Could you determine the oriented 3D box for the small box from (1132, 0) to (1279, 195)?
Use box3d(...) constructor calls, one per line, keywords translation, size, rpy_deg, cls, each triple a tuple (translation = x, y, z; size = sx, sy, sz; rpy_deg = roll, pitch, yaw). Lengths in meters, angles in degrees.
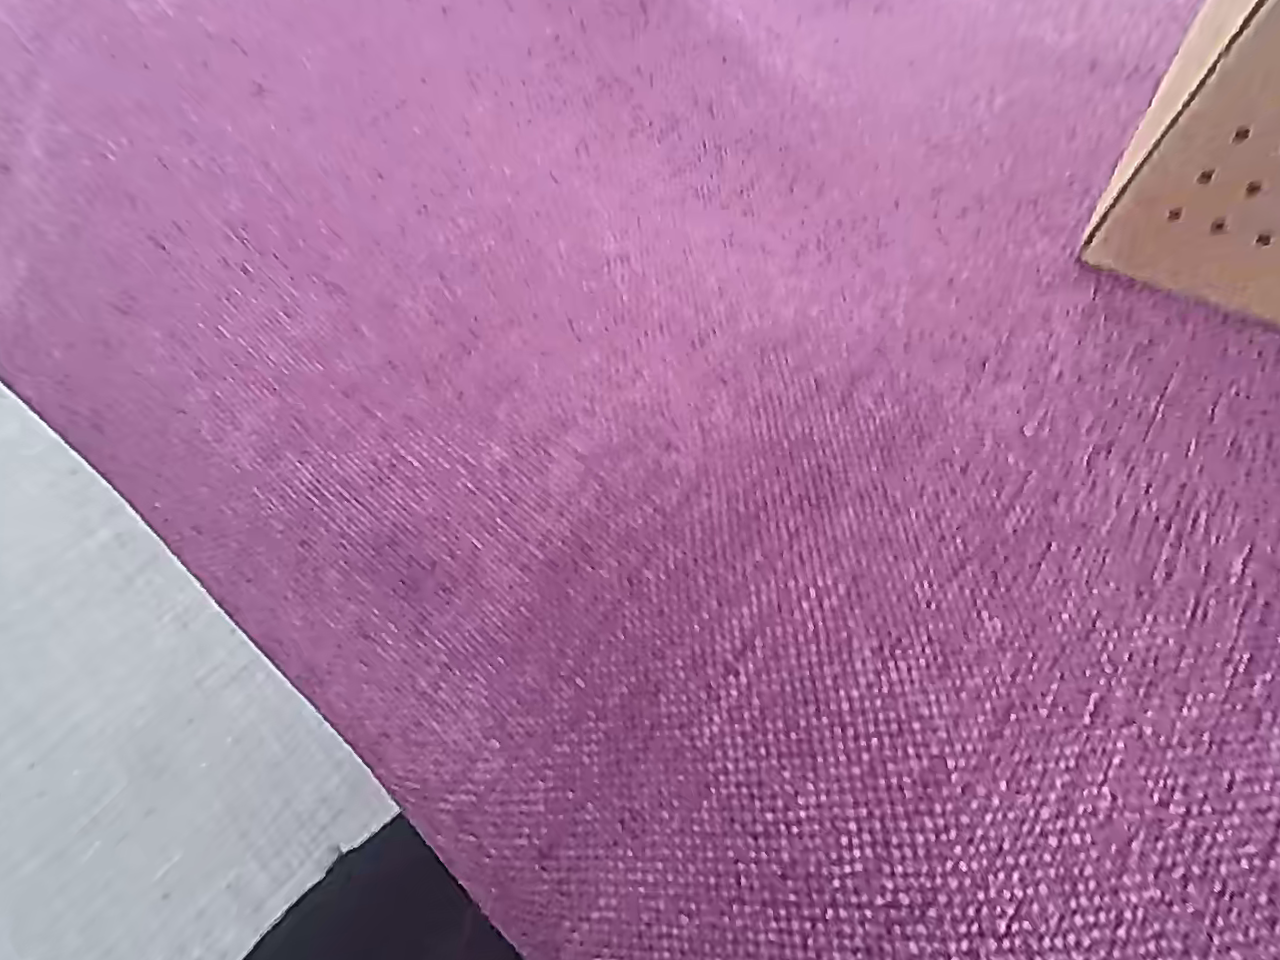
box3d(translation=(0.204, -0.116, 0.050), size=(0.168, 0.176, 0.179), rpy_deg=(32, 62, 20), cls="small box")
